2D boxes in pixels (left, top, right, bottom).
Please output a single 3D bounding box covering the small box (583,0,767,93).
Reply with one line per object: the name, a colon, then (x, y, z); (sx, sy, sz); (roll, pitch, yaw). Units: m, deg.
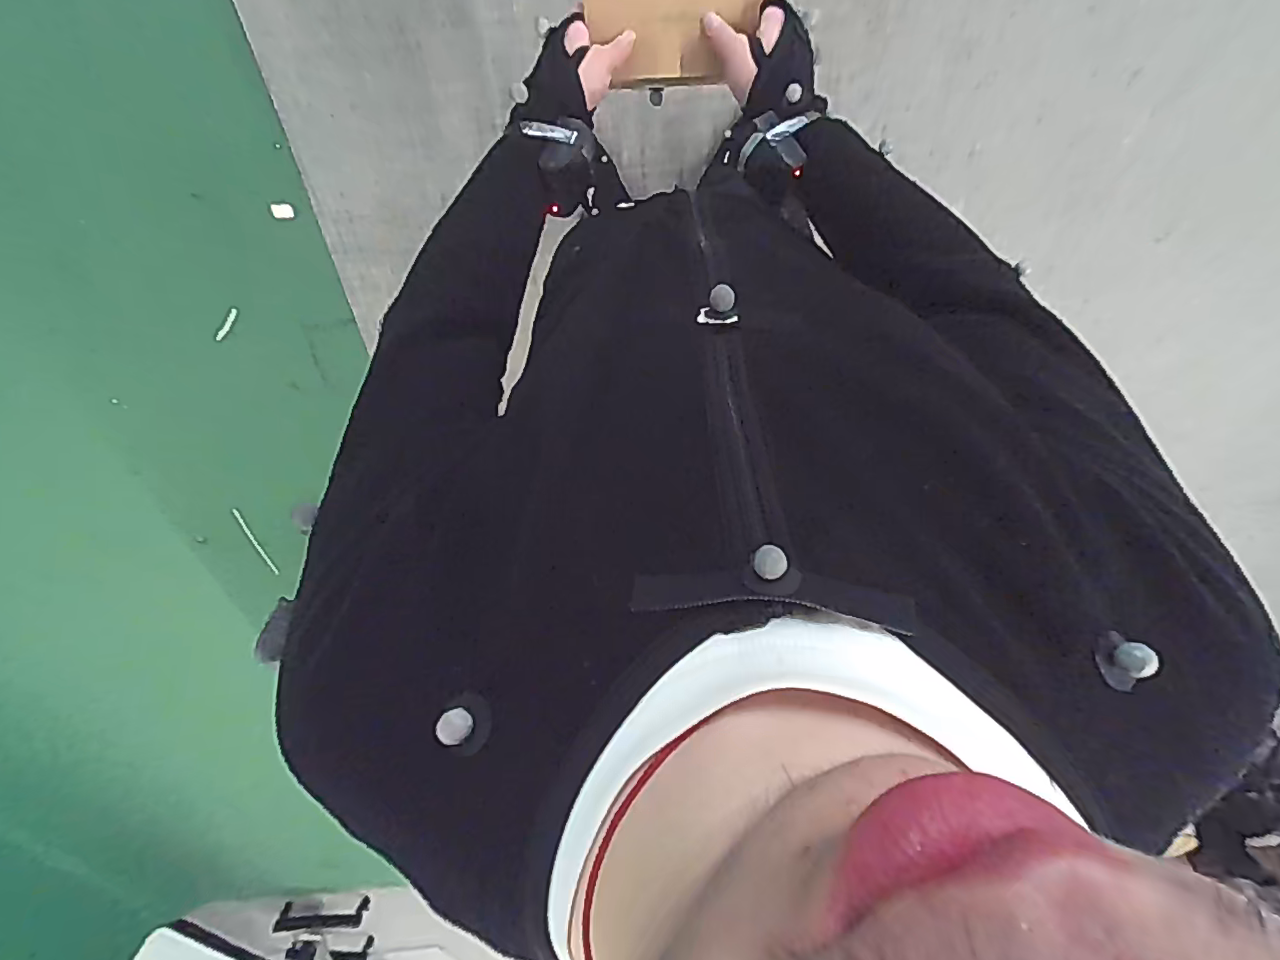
small box: (0.030, -0.489, 0.525); (0.168, 0.176, 0.179); (0, 123, 1)
